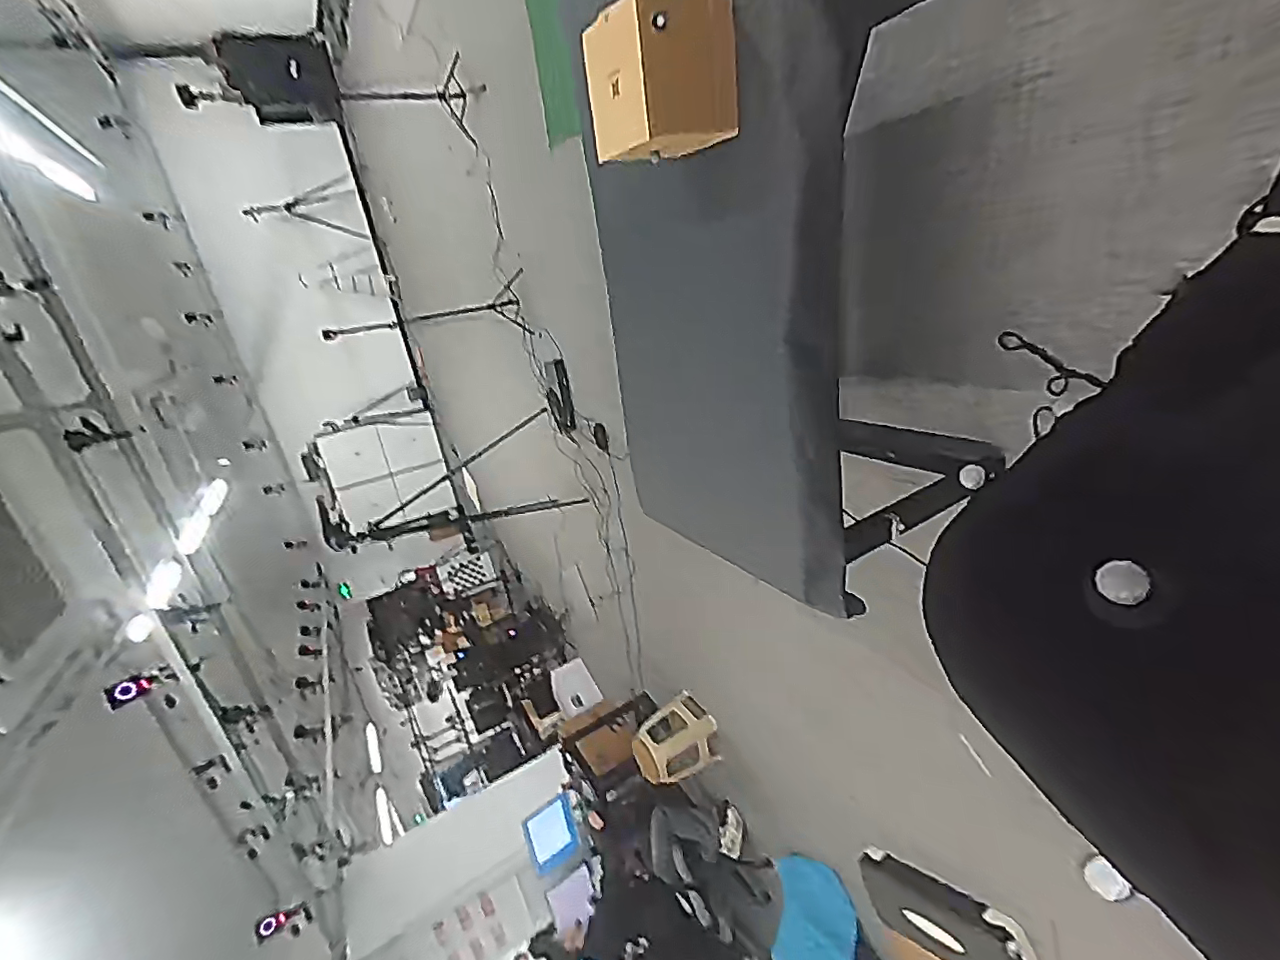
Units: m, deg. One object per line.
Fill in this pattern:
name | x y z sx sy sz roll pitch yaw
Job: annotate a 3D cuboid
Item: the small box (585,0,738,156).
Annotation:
small box | 0.037 -0.618 0.831 0.168 0.176 0.179 29 133 55
